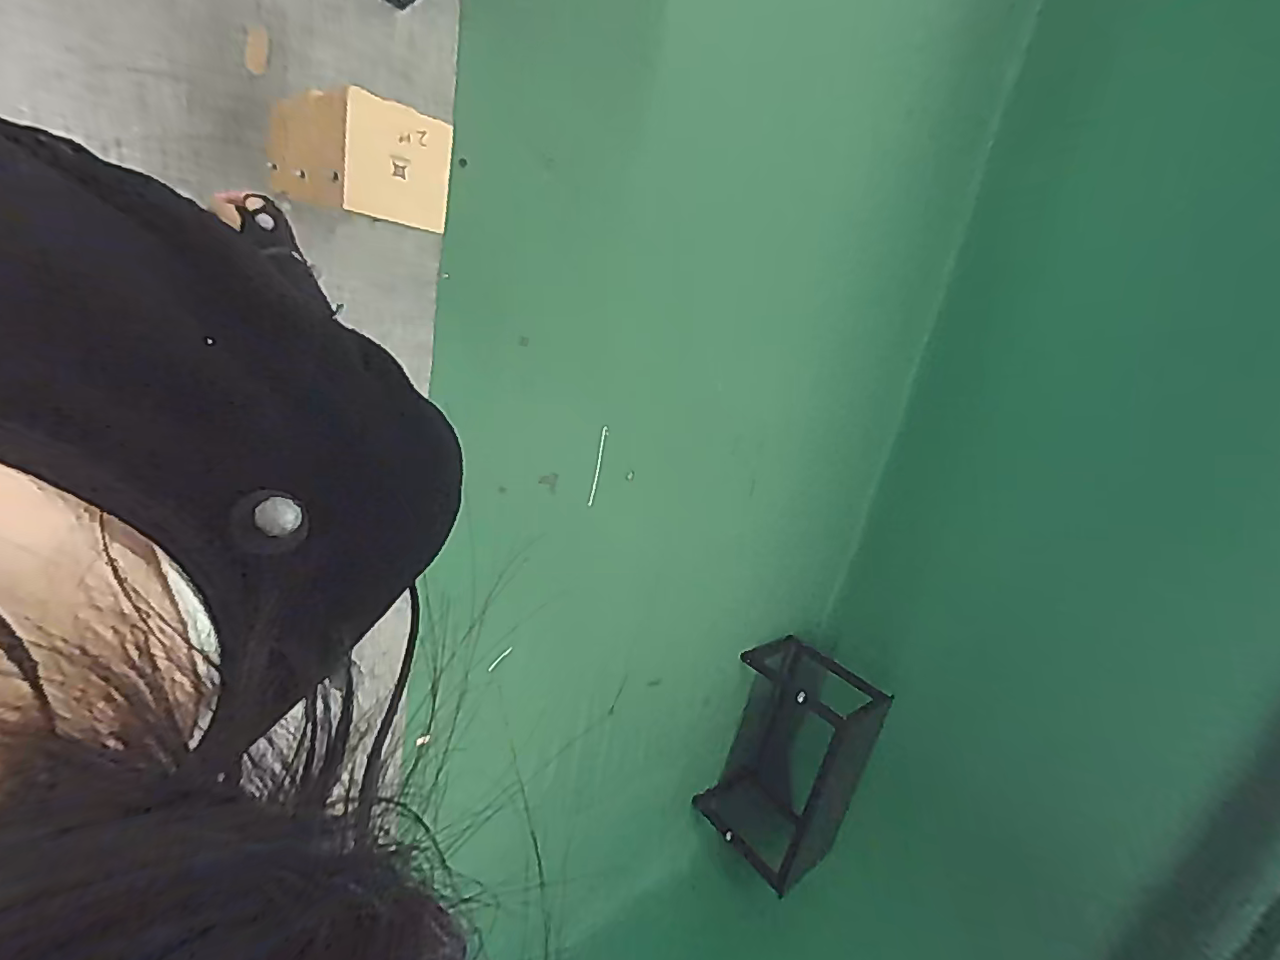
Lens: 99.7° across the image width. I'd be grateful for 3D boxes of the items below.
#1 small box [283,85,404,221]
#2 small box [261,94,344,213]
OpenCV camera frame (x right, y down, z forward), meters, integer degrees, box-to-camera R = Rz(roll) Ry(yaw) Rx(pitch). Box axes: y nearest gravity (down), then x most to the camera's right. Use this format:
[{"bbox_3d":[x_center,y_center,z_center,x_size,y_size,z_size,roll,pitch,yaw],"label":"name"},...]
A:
[{"bbox_3d":[-0.568,-0.610,1.030,0.168,0.176,0.179,-5,115,-43],"label":"small box"},{"bbox_3d":[-0.677,-0.669,1.134,0.179,0.176,0.168,-2,112,-44],"label":"small box"}]
